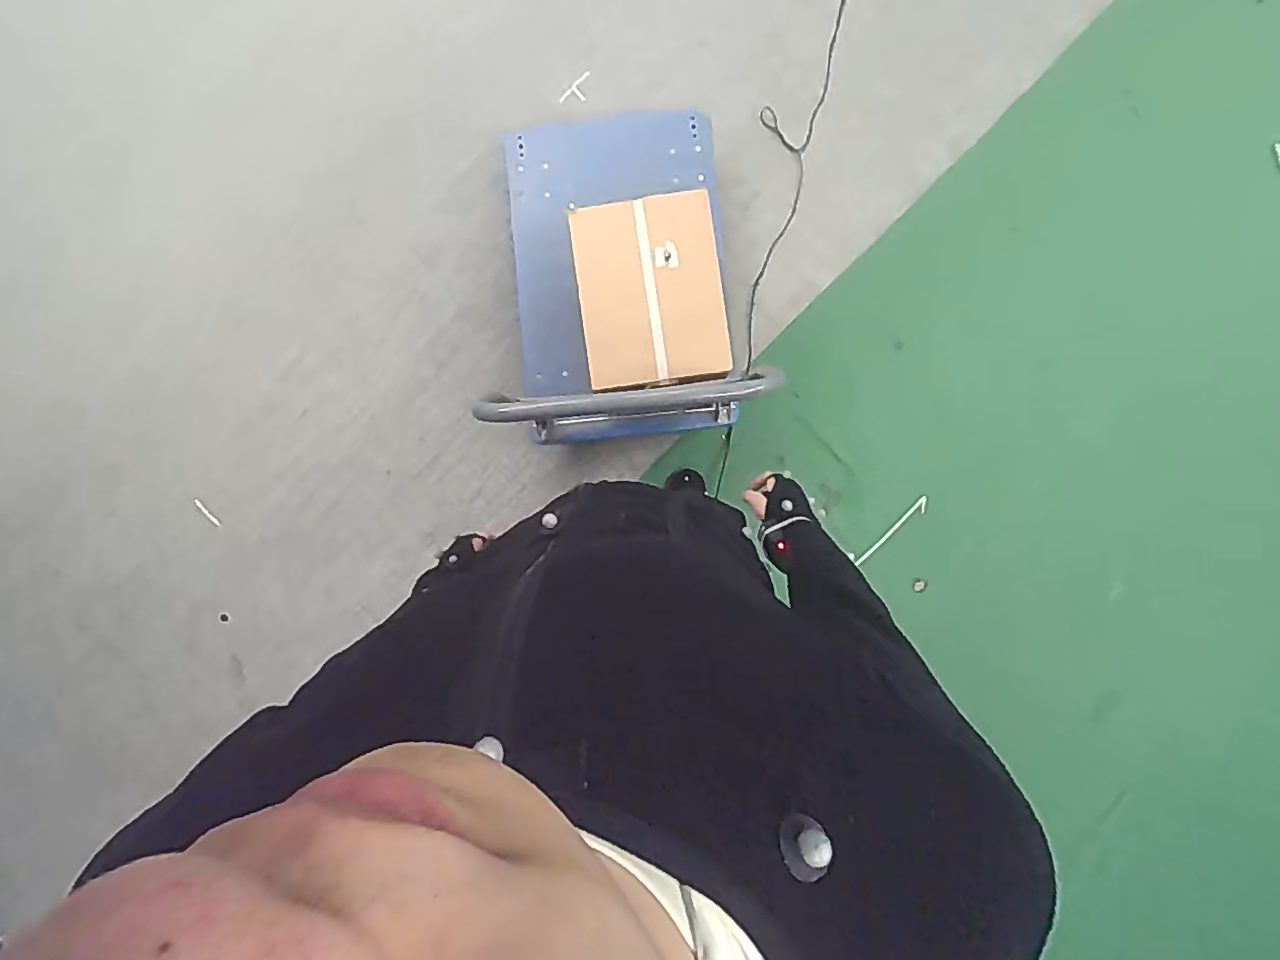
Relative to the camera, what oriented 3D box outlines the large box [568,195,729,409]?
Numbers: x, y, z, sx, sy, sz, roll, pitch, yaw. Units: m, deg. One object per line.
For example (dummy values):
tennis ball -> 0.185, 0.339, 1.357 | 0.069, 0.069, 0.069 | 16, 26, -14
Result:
large box -> 0.023, -0.415, 1.349 | 0.320, 0.320, 0.408 | -8, 89, 0
